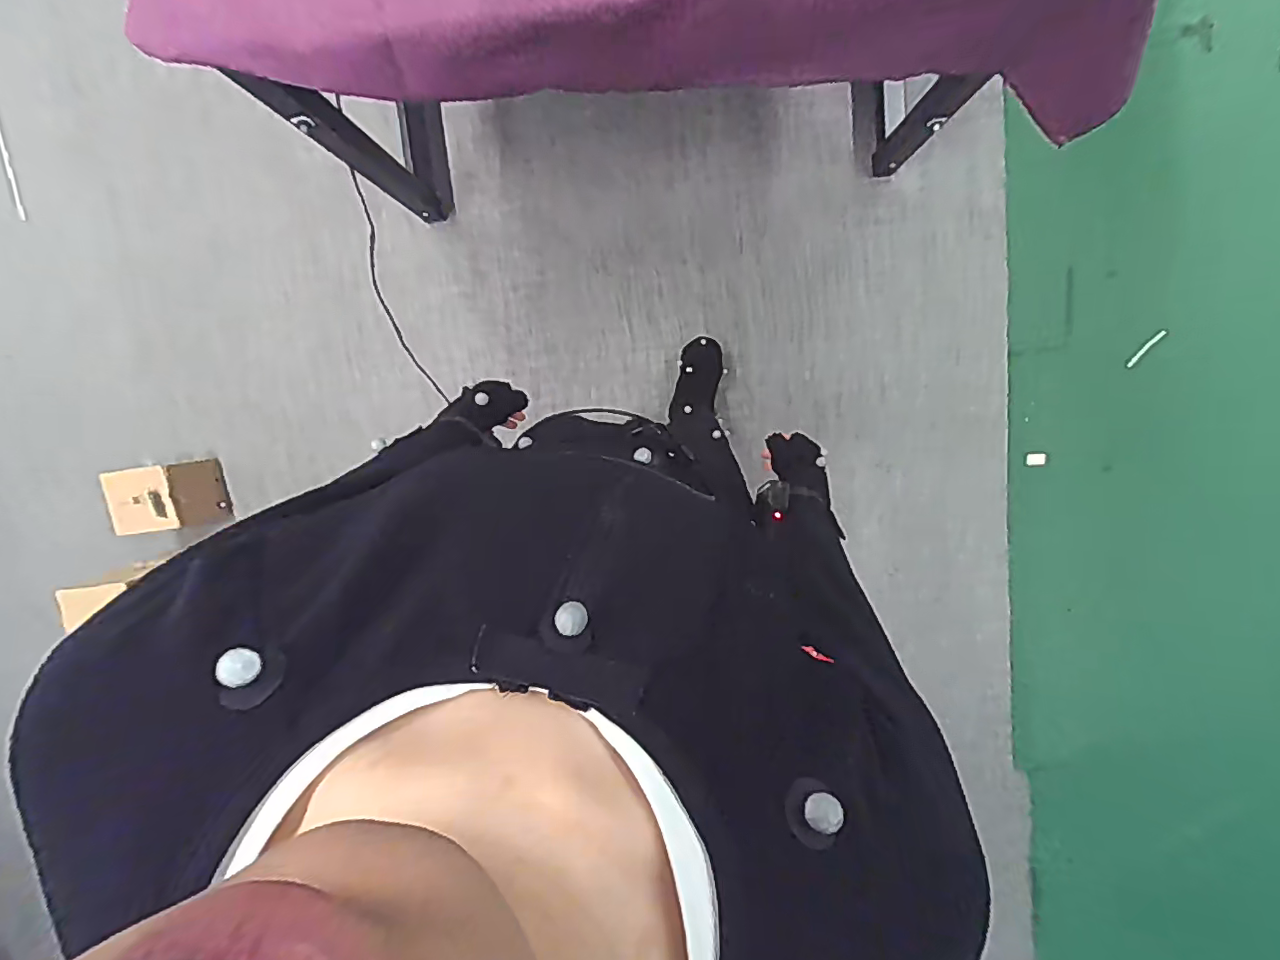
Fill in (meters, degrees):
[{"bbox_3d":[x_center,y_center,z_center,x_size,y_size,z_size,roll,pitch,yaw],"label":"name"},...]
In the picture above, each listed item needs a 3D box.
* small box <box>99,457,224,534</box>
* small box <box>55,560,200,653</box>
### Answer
[{"bbox_3d":[-1.256,0.036,1.438,0.179,0.176,0.168,-7,98,4],"label":"small box"},{"bbox_3d":[-1.234,0.302,1.313,0.179,0.176,0.168,-6,98,4],"label":"small box"}]
